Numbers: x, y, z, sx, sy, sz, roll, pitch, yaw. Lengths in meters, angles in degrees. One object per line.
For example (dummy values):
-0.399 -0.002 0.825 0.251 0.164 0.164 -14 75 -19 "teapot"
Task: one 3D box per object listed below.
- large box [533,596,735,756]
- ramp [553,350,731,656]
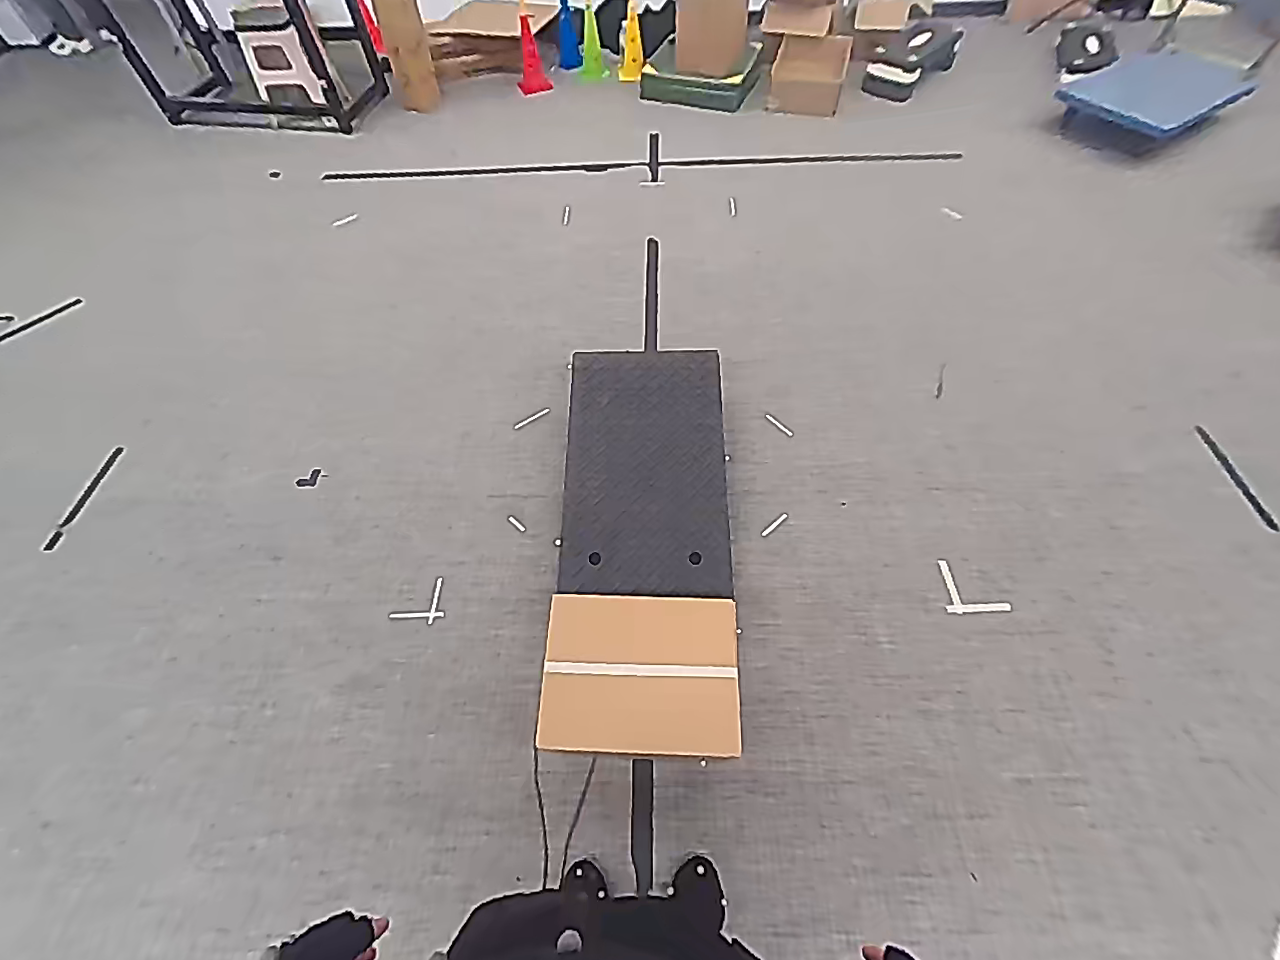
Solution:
-0.005 0.467 1.261 0.408 0.320 0.320 2 61 2 "large box"
0.007 0.027 1.630 0.509 0.206 0.991 -1 57 -1 "ramp"
